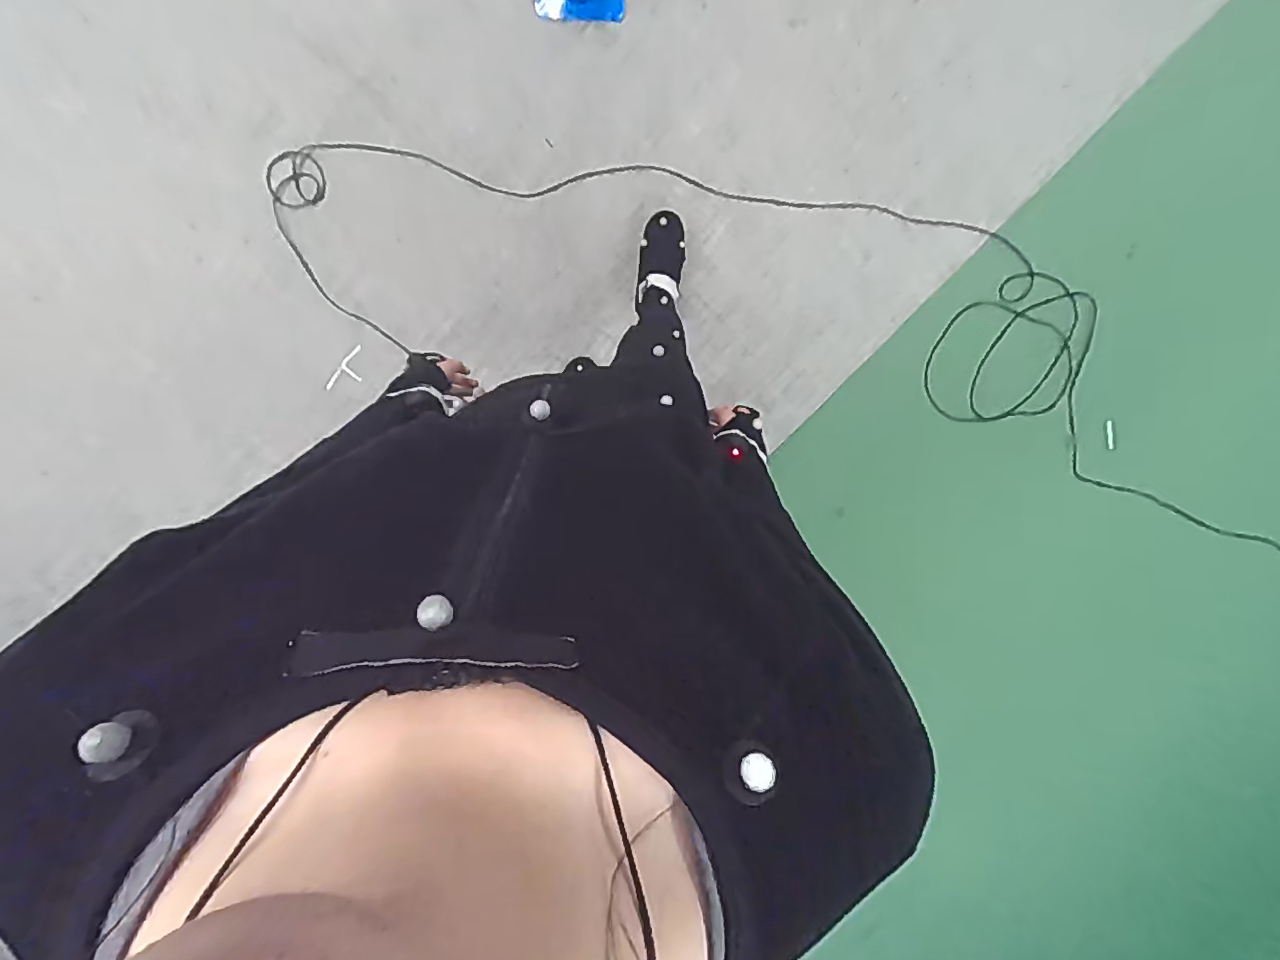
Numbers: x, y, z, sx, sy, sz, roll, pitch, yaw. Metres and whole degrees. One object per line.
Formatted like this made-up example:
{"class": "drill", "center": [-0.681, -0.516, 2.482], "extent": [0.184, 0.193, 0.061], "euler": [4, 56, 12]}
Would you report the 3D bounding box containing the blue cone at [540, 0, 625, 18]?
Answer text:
{"class": "blue cone", "center": [-0.125, -1.059, 0.999], "extent": [0.192, 0.380, 0.193], "euler": [-1, 105, -1]}
